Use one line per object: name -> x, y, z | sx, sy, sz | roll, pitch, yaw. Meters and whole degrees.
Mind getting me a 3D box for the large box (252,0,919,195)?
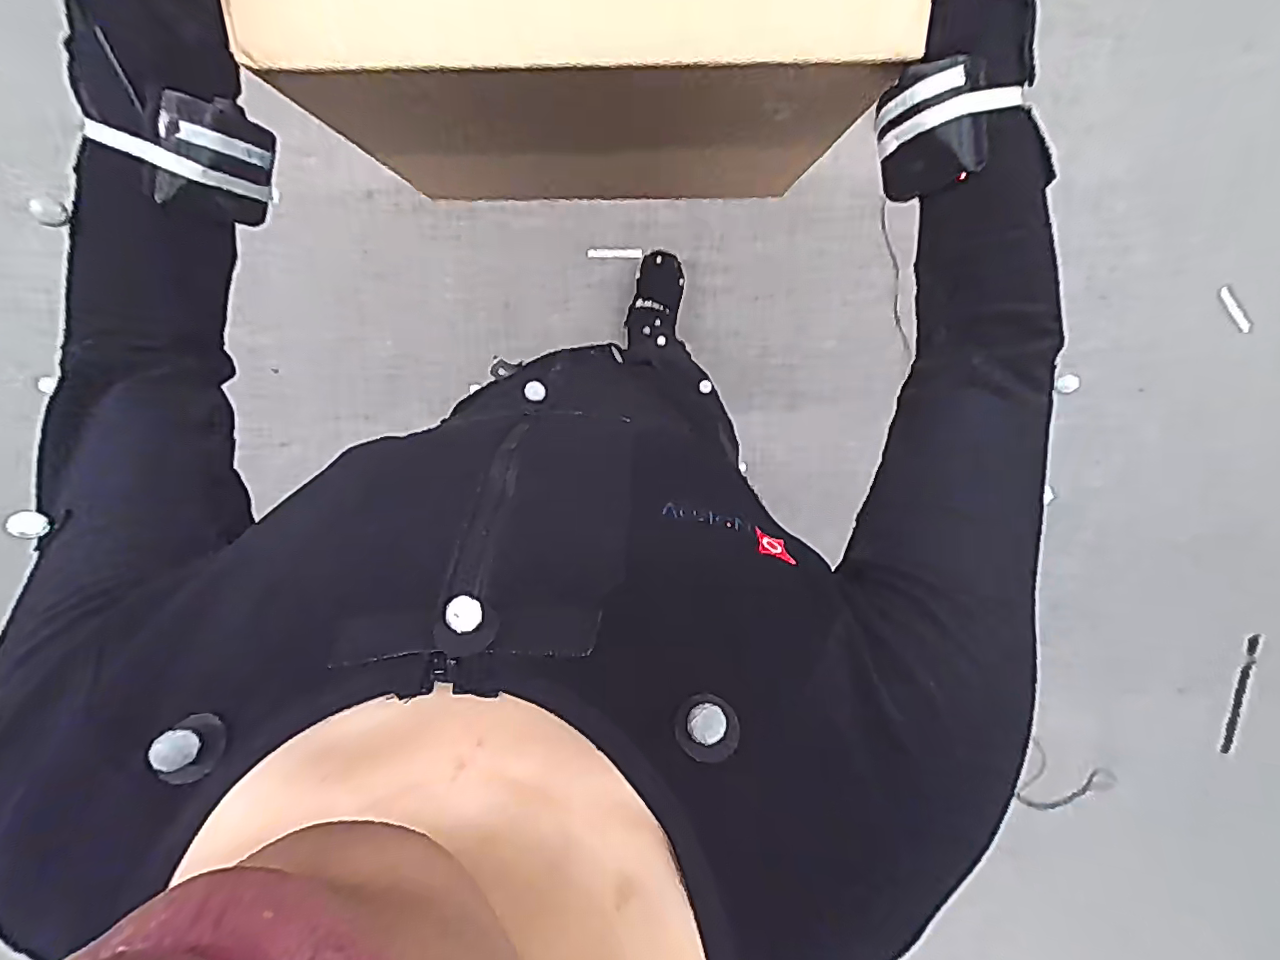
large box -> -0.039, -0.444, 0.436 | 0.408, 0.320, 0.320 | -1, 104, -1
